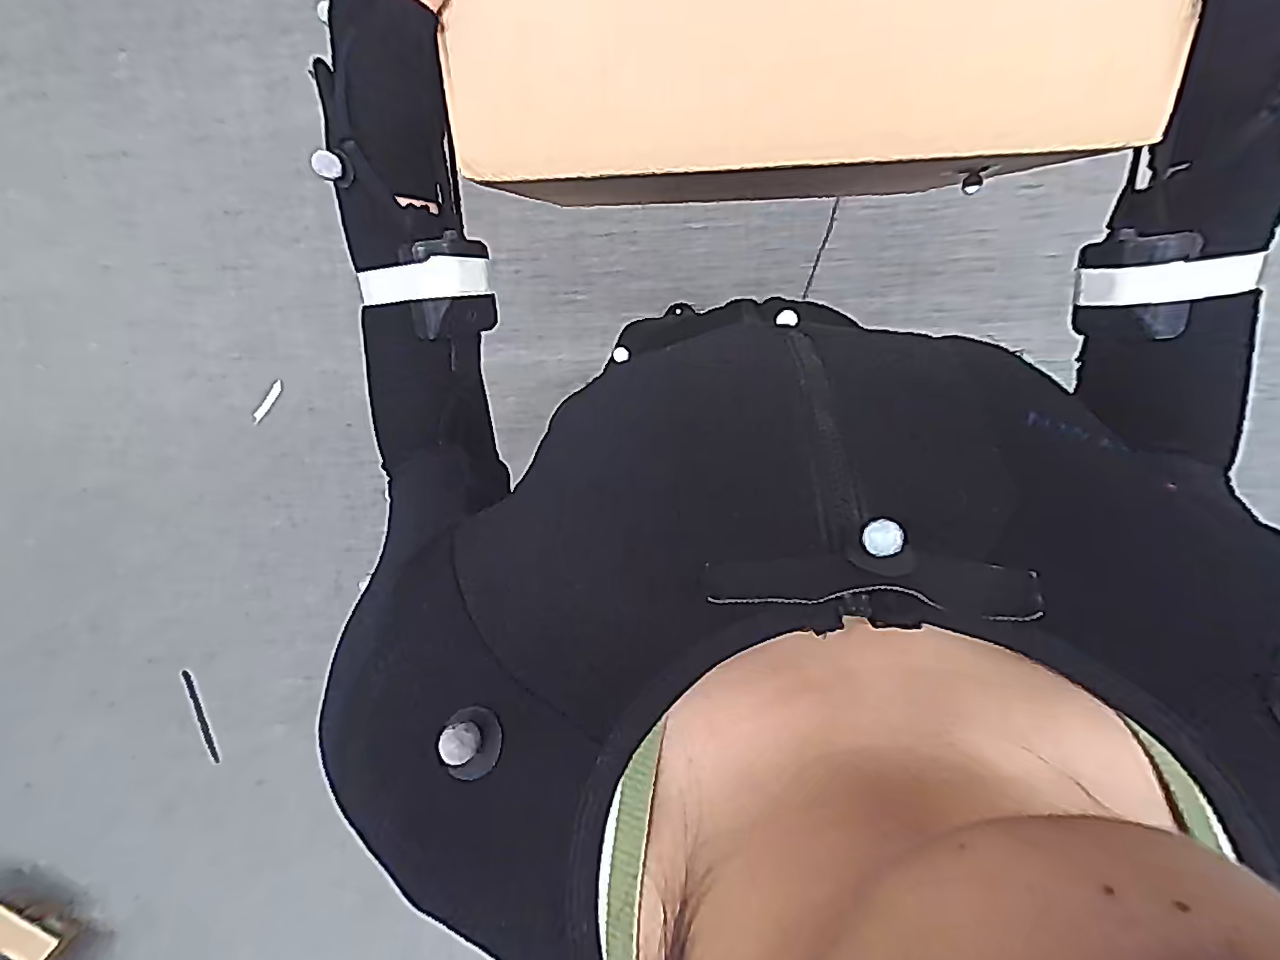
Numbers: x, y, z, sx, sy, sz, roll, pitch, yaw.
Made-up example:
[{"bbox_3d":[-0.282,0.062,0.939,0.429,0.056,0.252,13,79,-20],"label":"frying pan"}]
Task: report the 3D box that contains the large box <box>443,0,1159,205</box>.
[{"bbox_3d":[0.091,-0.395,0.408,0.408,0.320,0.320,-1,114,4],"label":"large box"}]
